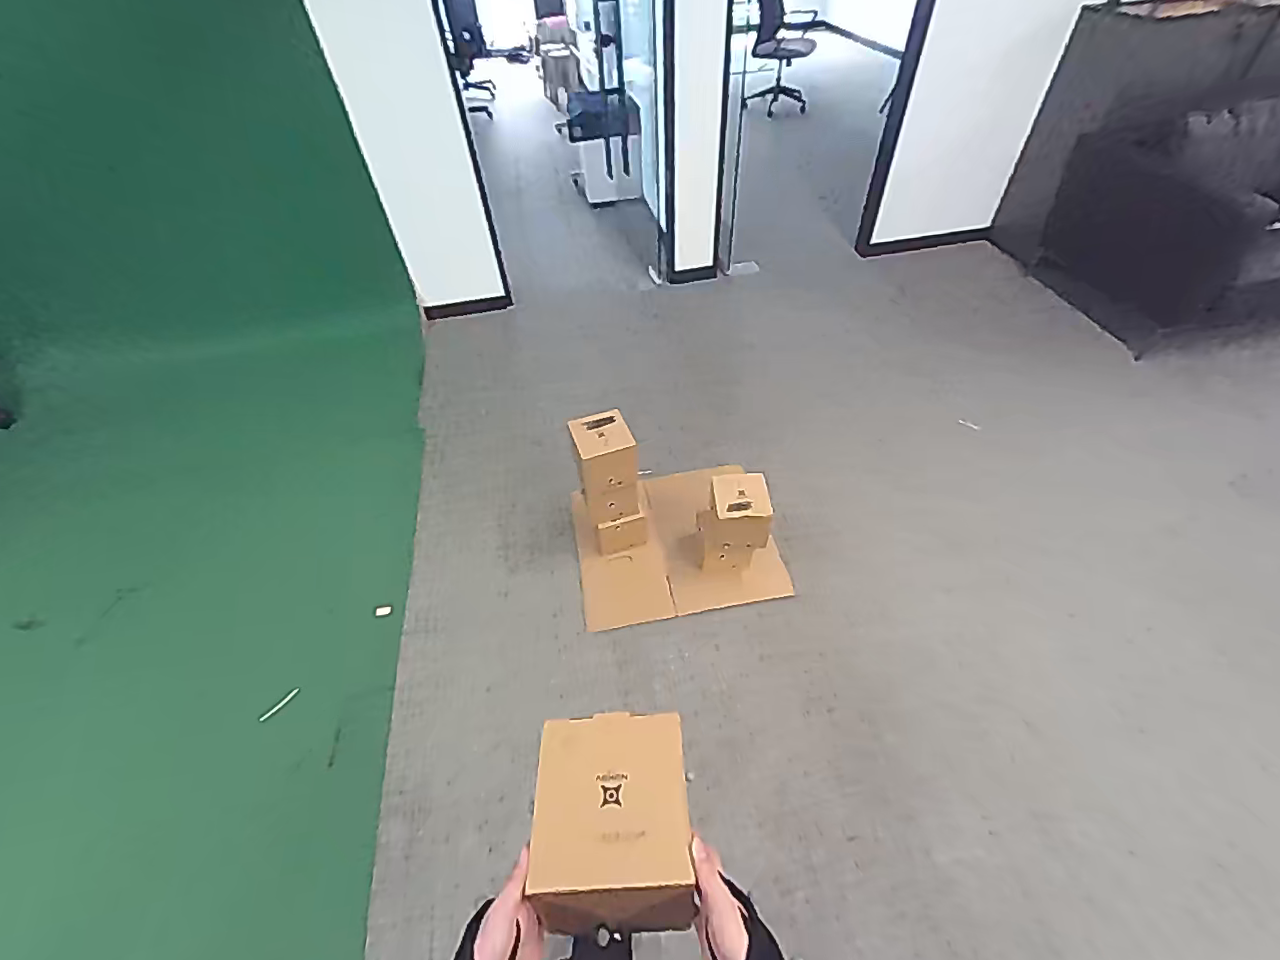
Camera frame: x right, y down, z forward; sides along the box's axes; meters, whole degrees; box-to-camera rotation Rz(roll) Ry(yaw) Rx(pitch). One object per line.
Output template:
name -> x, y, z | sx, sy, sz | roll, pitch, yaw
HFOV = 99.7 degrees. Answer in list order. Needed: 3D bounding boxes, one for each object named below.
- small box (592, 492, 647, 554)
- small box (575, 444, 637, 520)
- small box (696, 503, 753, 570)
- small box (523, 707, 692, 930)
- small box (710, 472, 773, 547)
small box -> -0.079, 0.132, 1.906 | 0.168, 0.176, 0.179 | -15, 49, -10
small box -> -0.109, 0.014, 1.791 | 0.168, 0.176, 0.179 | -14, 48, -10
small box -> 0.285, 0.192, 1.827 | 0.168, 0.176, 0.179 | -6, 47, -2
small box -> -0.030, 0.390, 0.630 | 0.168, 0.176, 0.179 | -2, 38, 1
small box -> 0.310, 0.097, 1.688 | 0.168, 0.176, 0.179 | -3, 47, 1
